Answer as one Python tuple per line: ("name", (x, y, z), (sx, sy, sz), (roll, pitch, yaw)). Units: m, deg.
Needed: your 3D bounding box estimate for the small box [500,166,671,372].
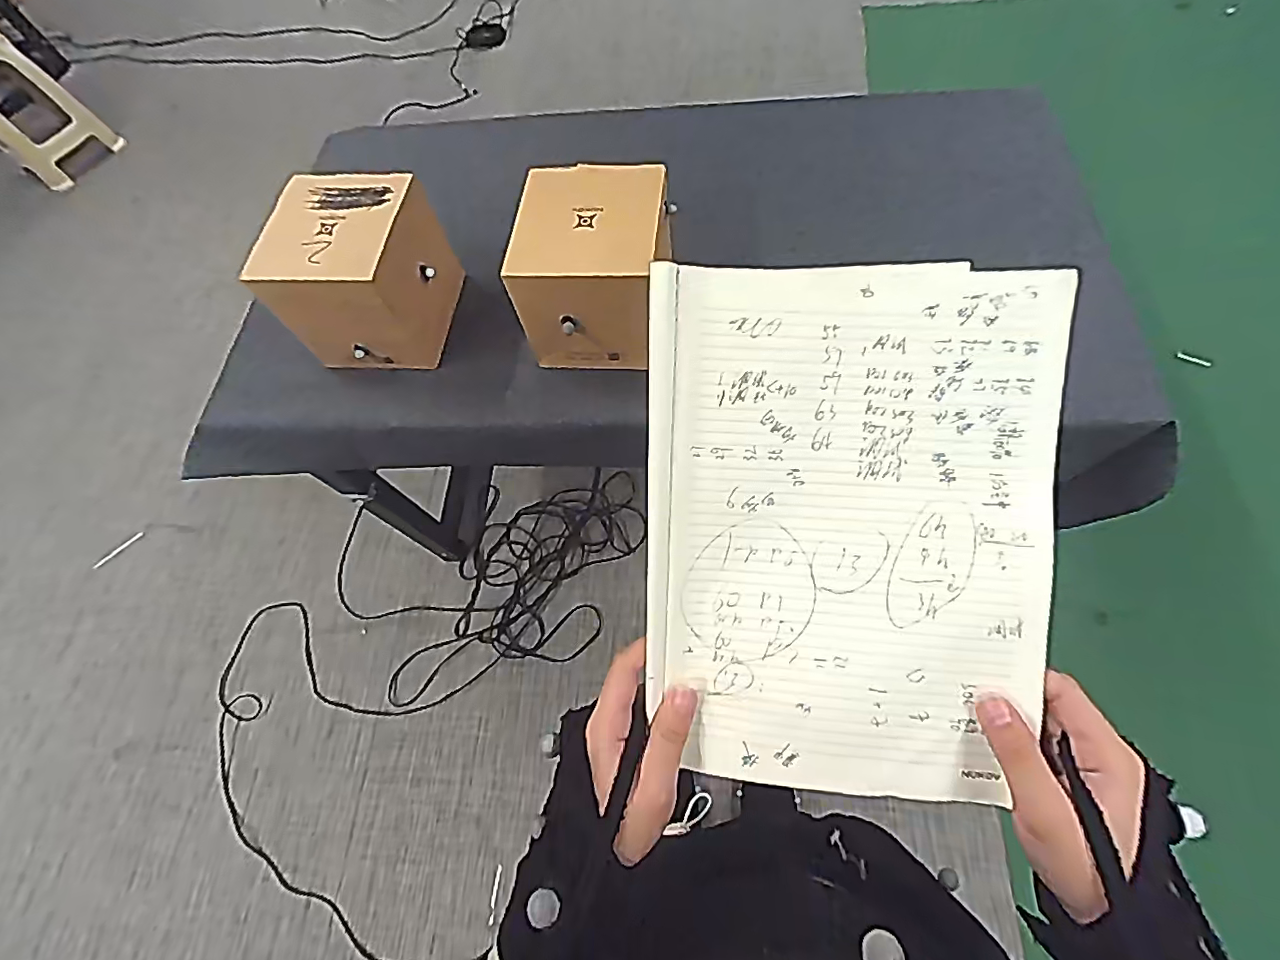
("small box", (-0.052, -0.249, 0.666), (0.168, 0.176, 0.179), (3, 65, 8))
